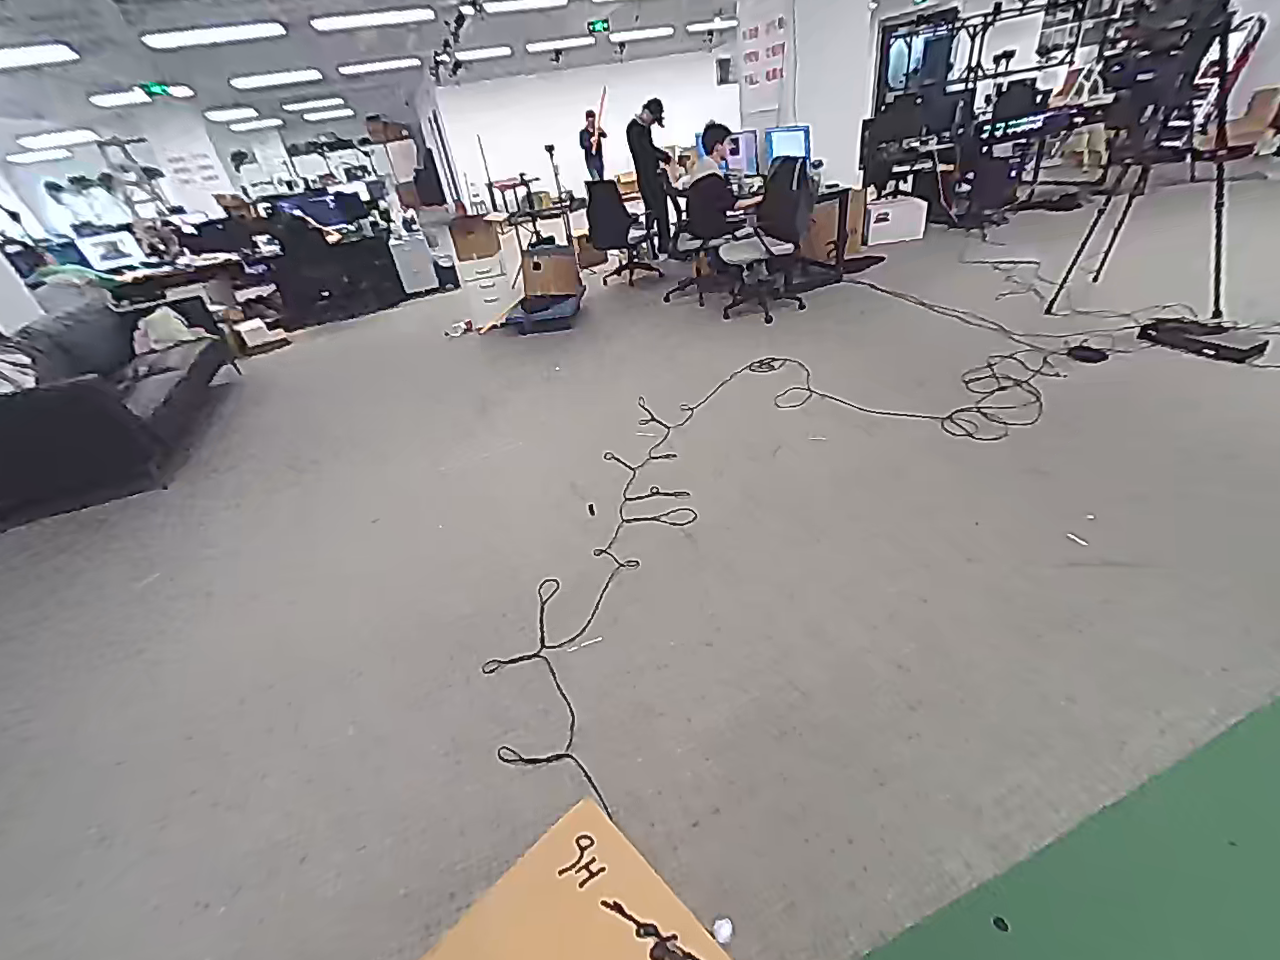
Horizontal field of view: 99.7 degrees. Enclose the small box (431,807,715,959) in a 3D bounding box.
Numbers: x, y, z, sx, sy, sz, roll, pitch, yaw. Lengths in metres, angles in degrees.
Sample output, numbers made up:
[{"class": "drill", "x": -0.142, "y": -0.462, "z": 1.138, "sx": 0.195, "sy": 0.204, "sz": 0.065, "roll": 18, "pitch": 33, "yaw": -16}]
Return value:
[{"class": "small box", "x": -0.029, "y": 0.338, "z": 0.292, "sx": 0.179, "sy": 0.176, "sz": 0.168, "roll": -35, "pitch": 42, "yaw": -30}]
